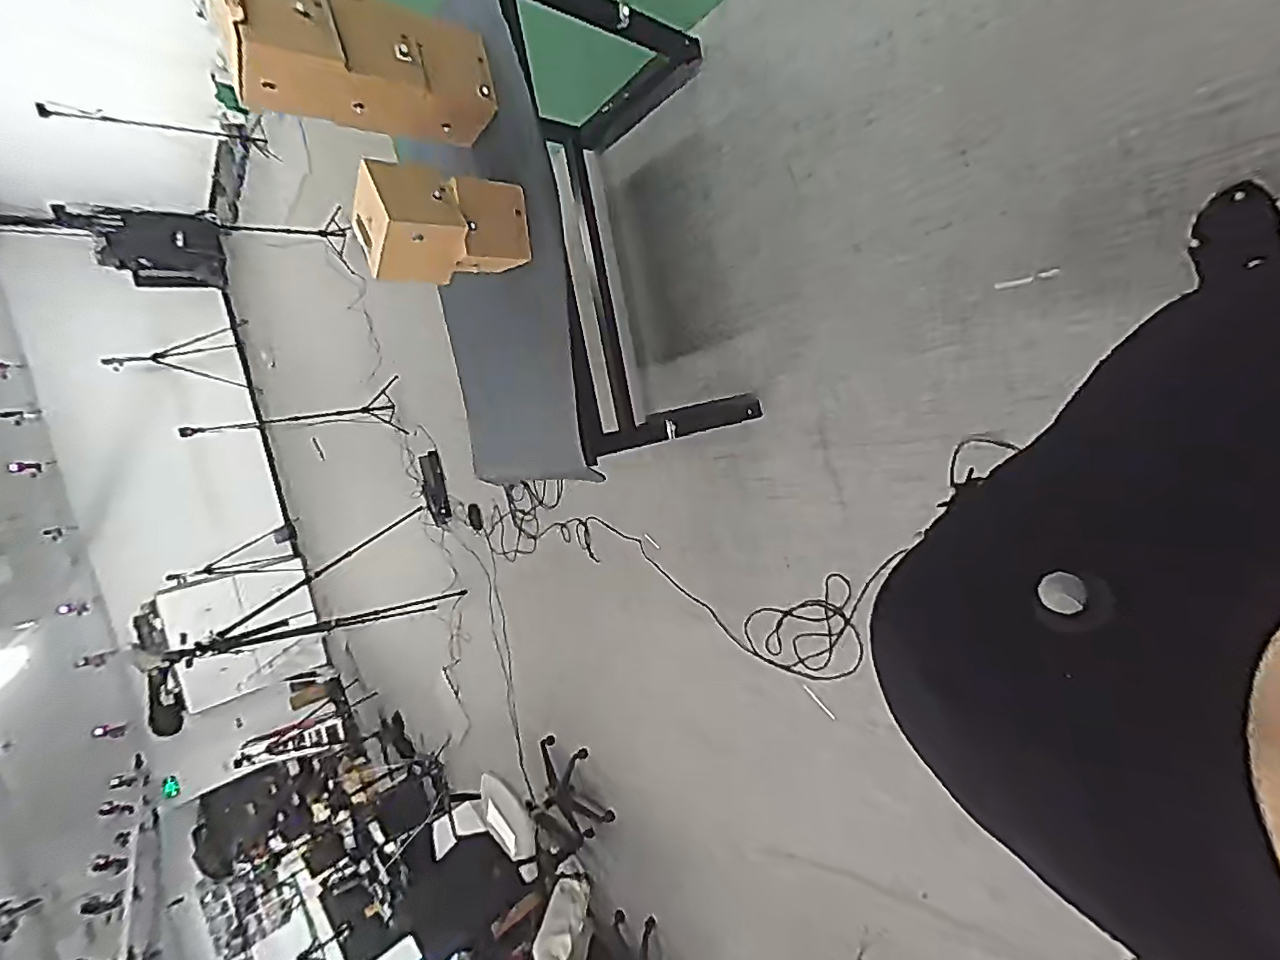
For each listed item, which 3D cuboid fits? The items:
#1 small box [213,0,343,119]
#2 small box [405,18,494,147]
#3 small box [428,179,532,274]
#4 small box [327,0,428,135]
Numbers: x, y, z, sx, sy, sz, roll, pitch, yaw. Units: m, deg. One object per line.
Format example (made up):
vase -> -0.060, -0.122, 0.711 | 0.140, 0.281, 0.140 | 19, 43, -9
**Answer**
small box -> -0.689, -0.832, 1.035 | 0.179, 0.176, 0.168 | -14, 94, 51
small box -> -0.454, -0.906, 1.252 | 0.179, 0.176, 0.168 | -3, 101, 51
small box -> -0.375, -0.587, 1.275 | 0.179, 0.176, 0.168 | 9, 110, 48
small box -> -0.572, -0.868, 1.146 | 0.179, 0.176, 0.168 | -10, 97, 50
